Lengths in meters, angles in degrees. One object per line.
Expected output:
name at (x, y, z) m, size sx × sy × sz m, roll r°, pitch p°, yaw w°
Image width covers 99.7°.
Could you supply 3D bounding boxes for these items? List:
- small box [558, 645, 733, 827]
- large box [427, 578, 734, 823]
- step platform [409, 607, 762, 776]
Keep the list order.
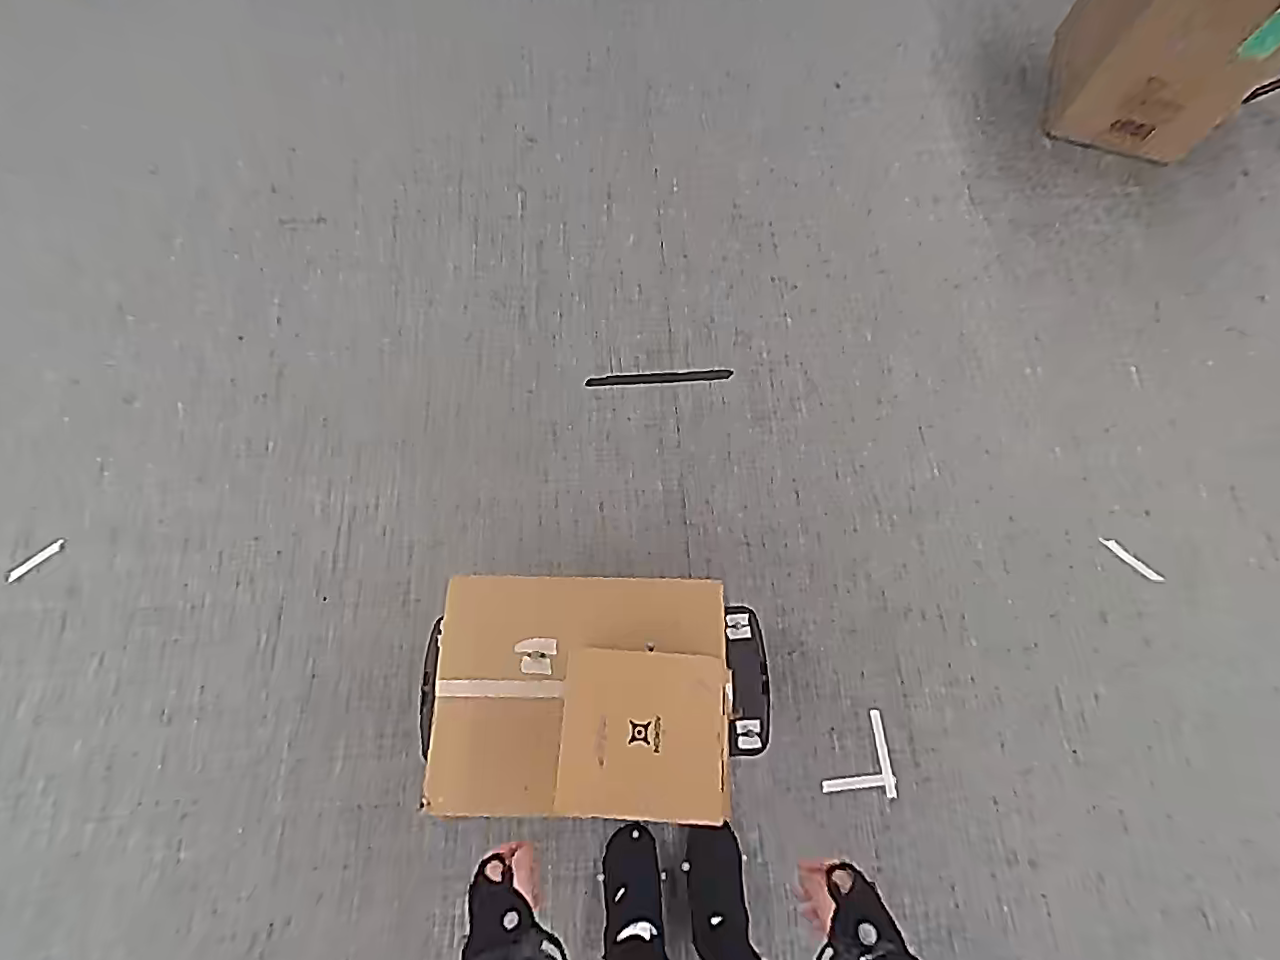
small box at (0.008, 0.287, 0.641) m, size 0.179 × 0.176 × 0.168 m, roll 4°, pitch 73°, yaw 1°
large box at (-0.076, 0.337, 0.882) m, size 0.408 × 0.320 × 0.320 m, roll 0°, pitch 71°, yaw 0°
step platform at (-0.100, 0.421, 1.104) m, size 0.684 × 0.204 × 0.286 m, roll 3°, pitch 72°, yaw 1°
